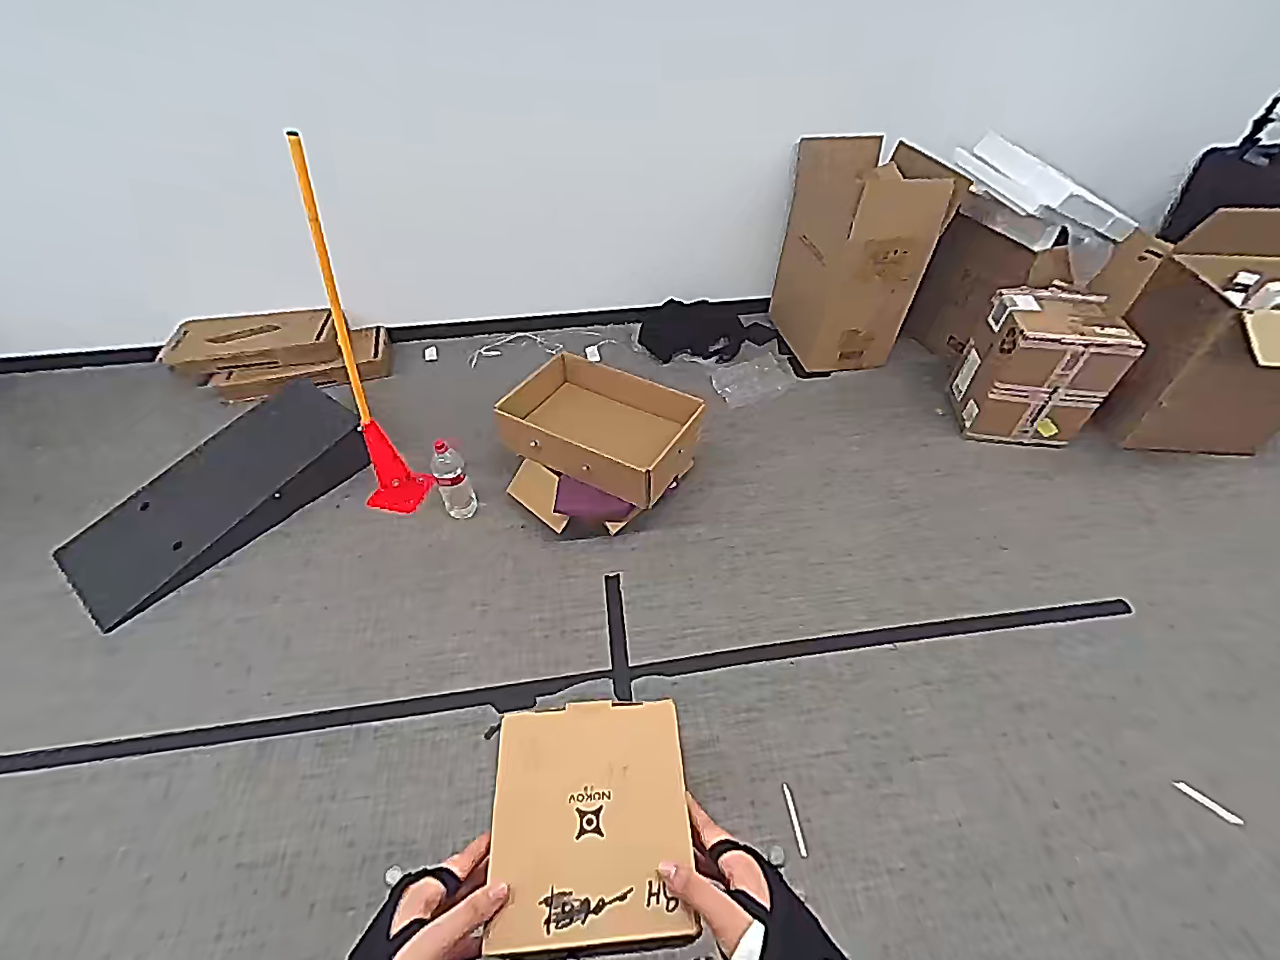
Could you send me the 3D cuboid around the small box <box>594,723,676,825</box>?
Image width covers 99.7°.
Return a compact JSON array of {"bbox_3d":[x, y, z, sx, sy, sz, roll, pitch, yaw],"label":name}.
[{"bbox_3d":[-0.014,0.707,1.299,0.179,0.176,0.168,-7,45,-4],"label":"small box"}]
